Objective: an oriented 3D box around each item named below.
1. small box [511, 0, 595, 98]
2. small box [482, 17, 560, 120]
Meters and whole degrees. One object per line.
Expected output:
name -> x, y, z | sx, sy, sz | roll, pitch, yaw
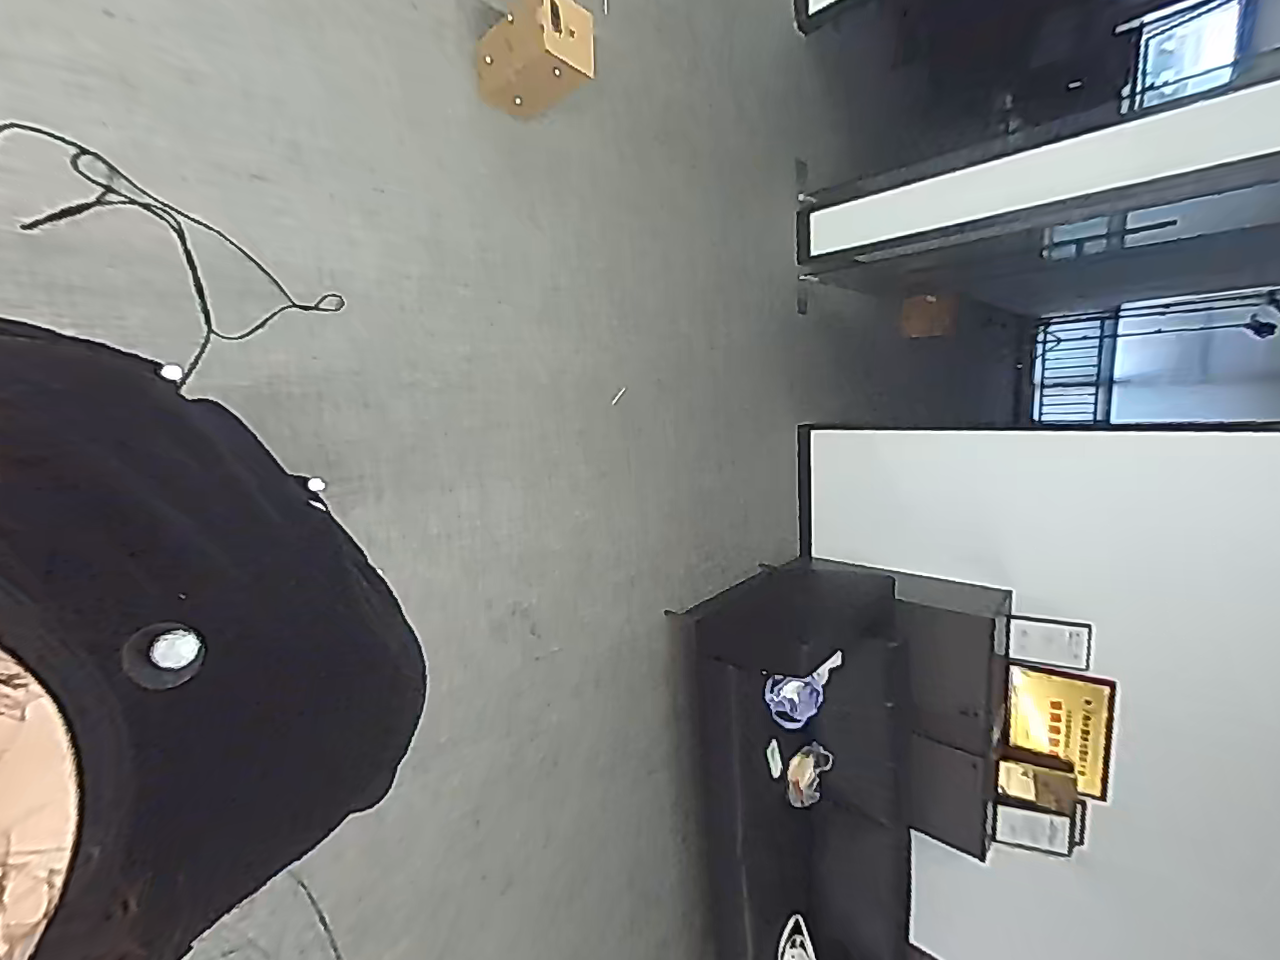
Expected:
small box -> -0.245, -1.204, 1.500 | 0.179, 0.176, 0.168 | -7, 100, -47
small box -> -0.361, -1.216, 1.617 | 0.179, 0.176, 0.168 | -9, 101, -45
